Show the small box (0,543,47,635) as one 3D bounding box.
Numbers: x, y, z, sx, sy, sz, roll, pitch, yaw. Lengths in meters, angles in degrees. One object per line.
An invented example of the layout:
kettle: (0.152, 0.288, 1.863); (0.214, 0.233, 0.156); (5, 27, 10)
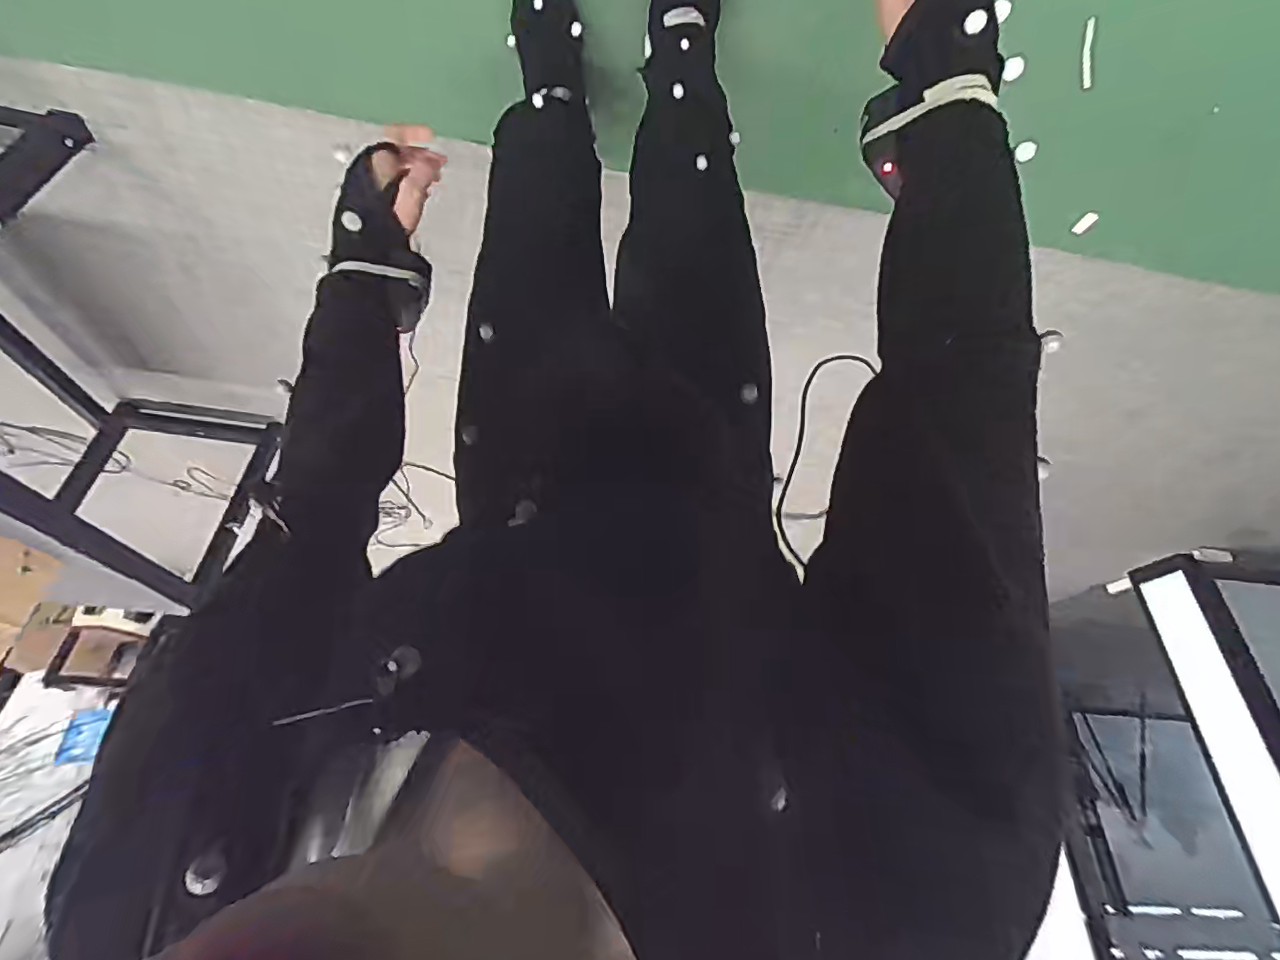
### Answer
small box: (-1.517, 0.233, 1.204); (0.179, 0.176, 0.168); (8, 150, -6)
